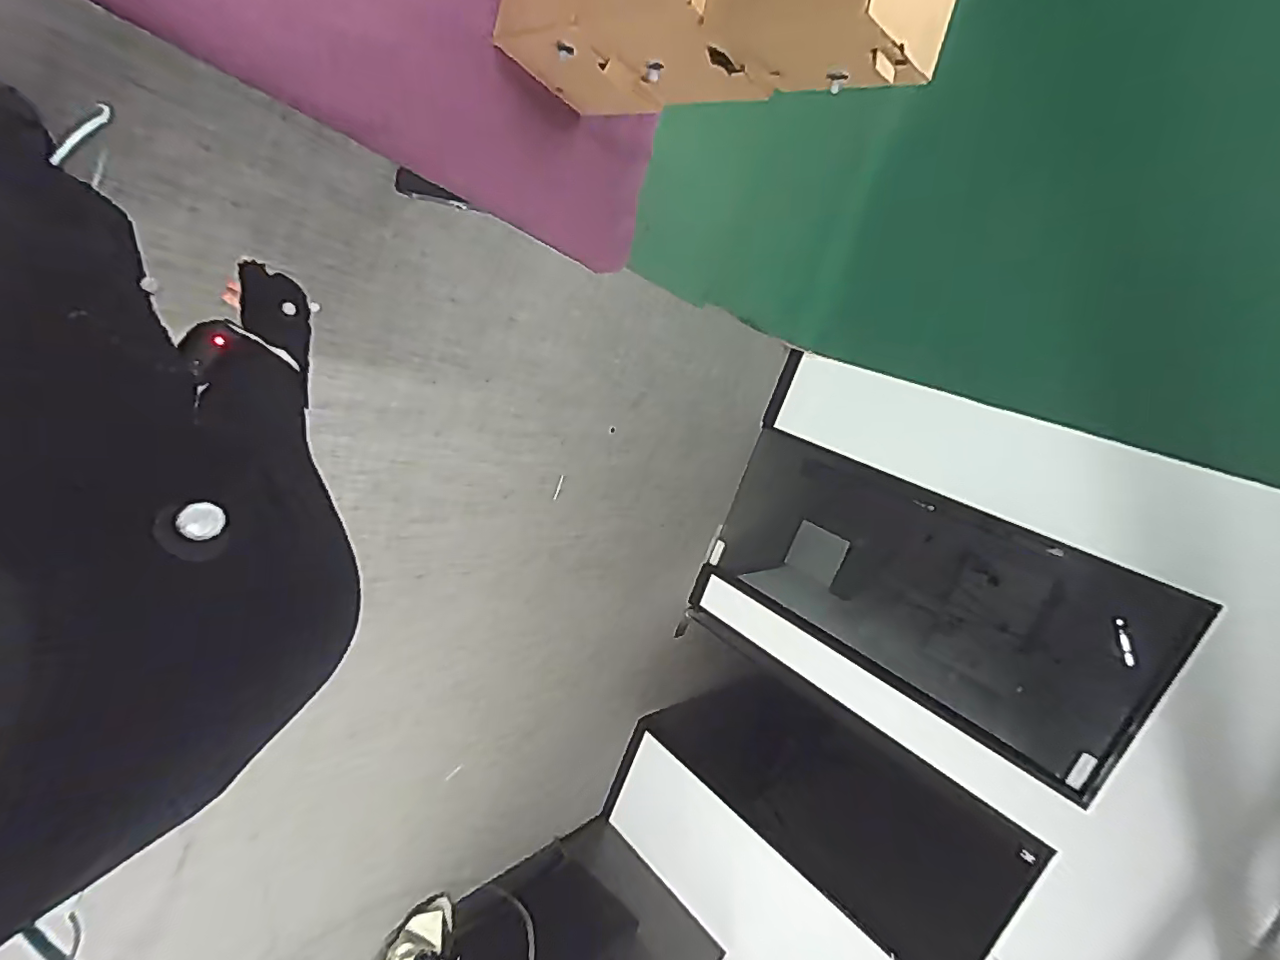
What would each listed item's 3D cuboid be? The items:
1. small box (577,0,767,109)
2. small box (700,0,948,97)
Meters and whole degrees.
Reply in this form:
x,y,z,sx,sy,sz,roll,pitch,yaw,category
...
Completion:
x,y,z,sx,sy,sz,roll,pitch,yaw,category
0.056,-0.539,0.587,0.168,0.176,0.179,0,113,-50,small box
0.176,-0.476,0.495,0.168,0.176,0.179,-15,124,-45,small box
